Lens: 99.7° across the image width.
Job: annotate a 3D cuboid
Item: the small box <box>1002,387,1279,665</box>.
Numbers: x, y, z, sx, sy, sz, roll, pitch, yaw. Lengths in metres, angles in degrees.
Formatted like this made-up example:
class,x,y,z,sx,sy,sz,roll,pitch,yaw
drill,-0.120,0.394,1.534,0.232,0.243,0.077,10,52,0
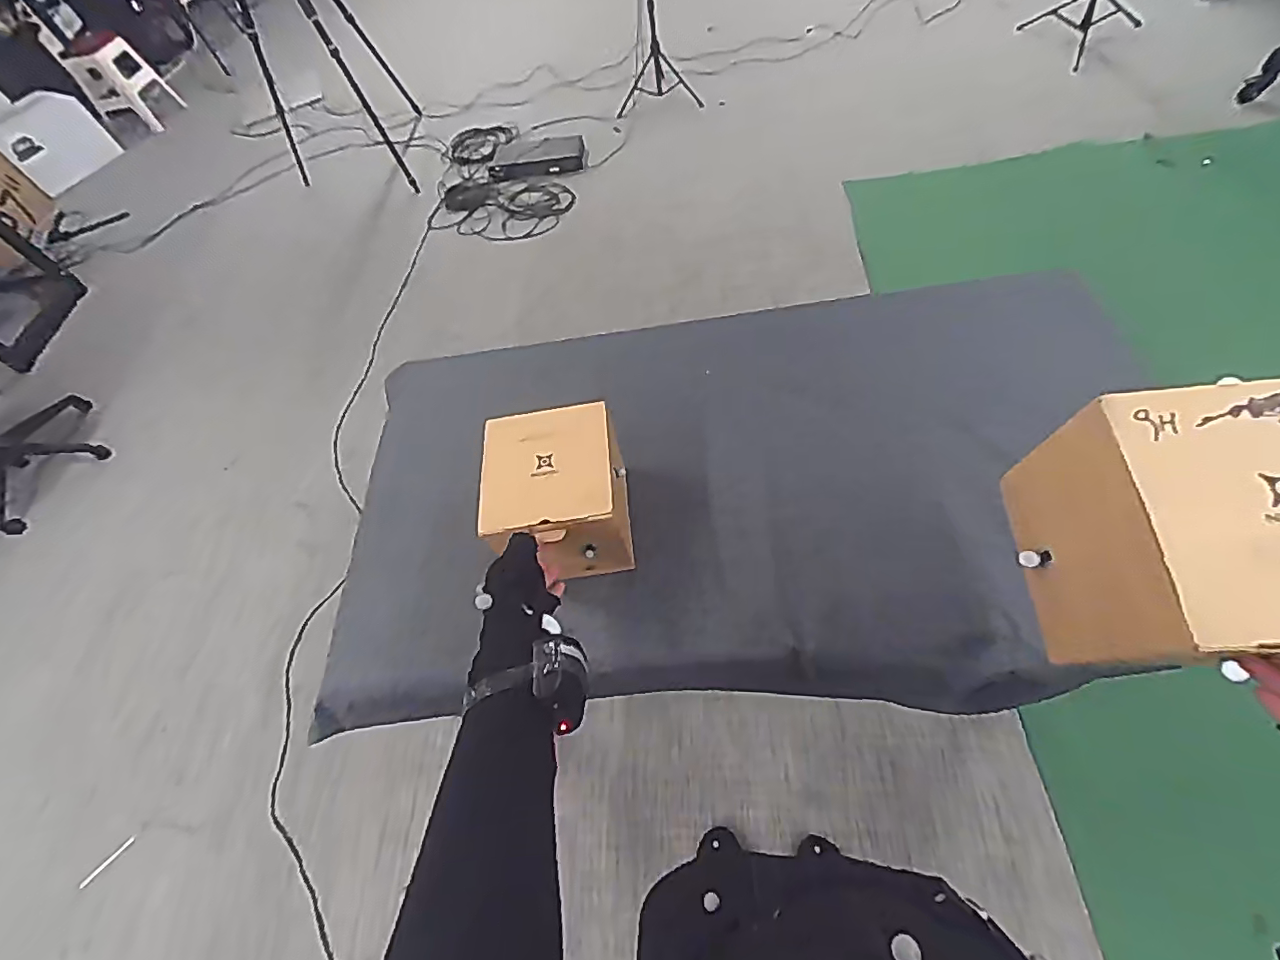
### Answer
class,x,y,z,sx,sy,sz,roll,pitch,yaw
small box,0.417,0.048,0.412,0.168,0.176,0.179,-5,69,8

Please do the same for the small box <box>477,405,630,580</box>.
class,x,y,z,sx,sy,sz,roll,pitch,yaw
small box,-0.109,0.026,0.740,0.168,0.176,0.179,-8,56,2
